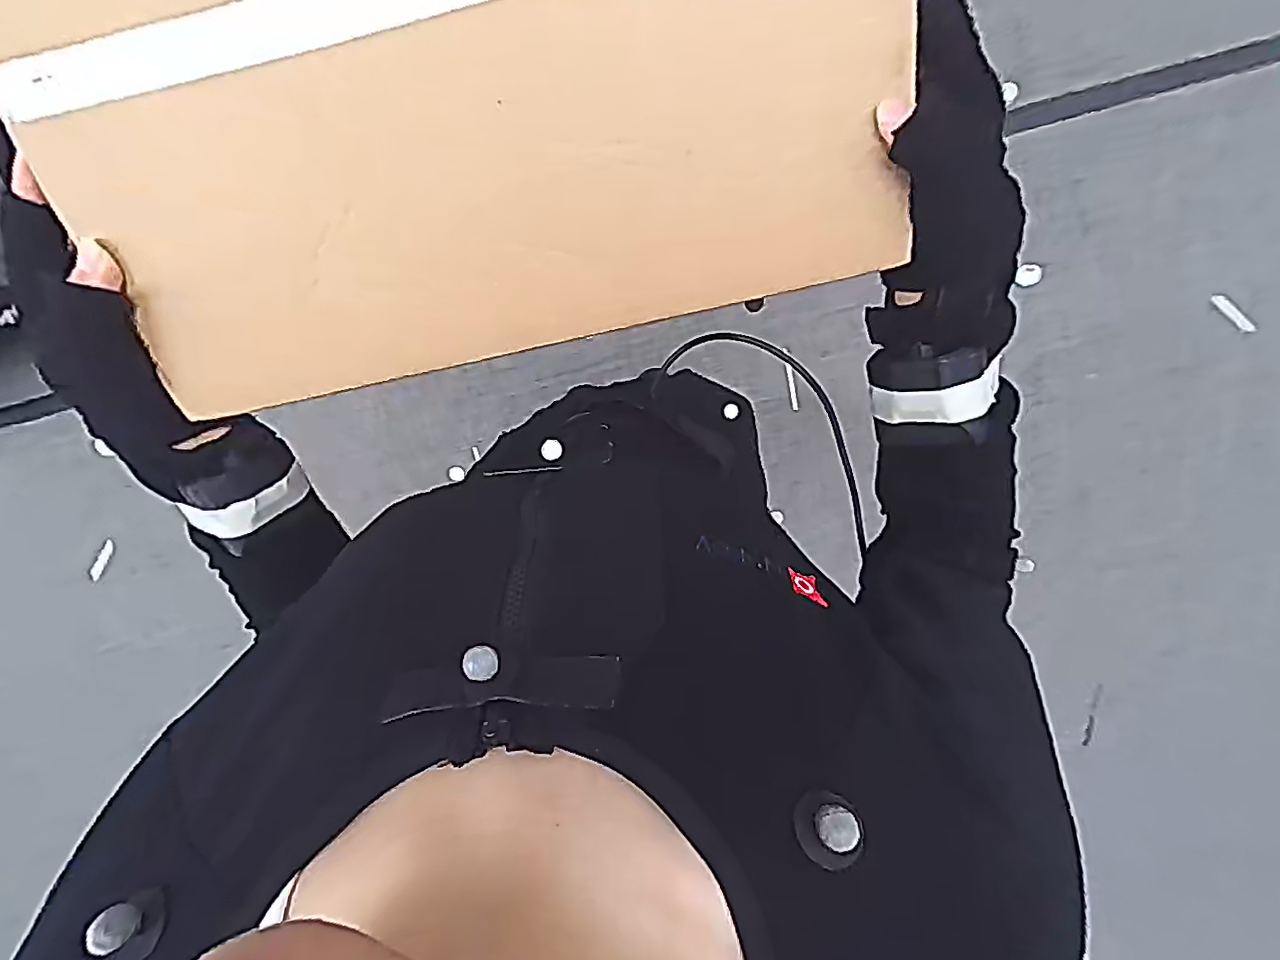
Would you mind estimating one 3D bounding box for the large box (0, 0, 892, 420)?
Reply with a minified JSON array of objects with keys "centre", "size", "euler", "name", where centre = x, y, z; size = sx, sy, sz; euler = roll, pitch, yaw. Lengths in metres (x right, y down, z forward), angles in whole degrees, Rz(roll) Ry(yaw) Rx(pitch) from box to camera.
[{"centre":[-0.092,-0.275,0.373],"size":[0.408,0.320,0.320],"euler":[-11,115,4],"name":"large box"}]
